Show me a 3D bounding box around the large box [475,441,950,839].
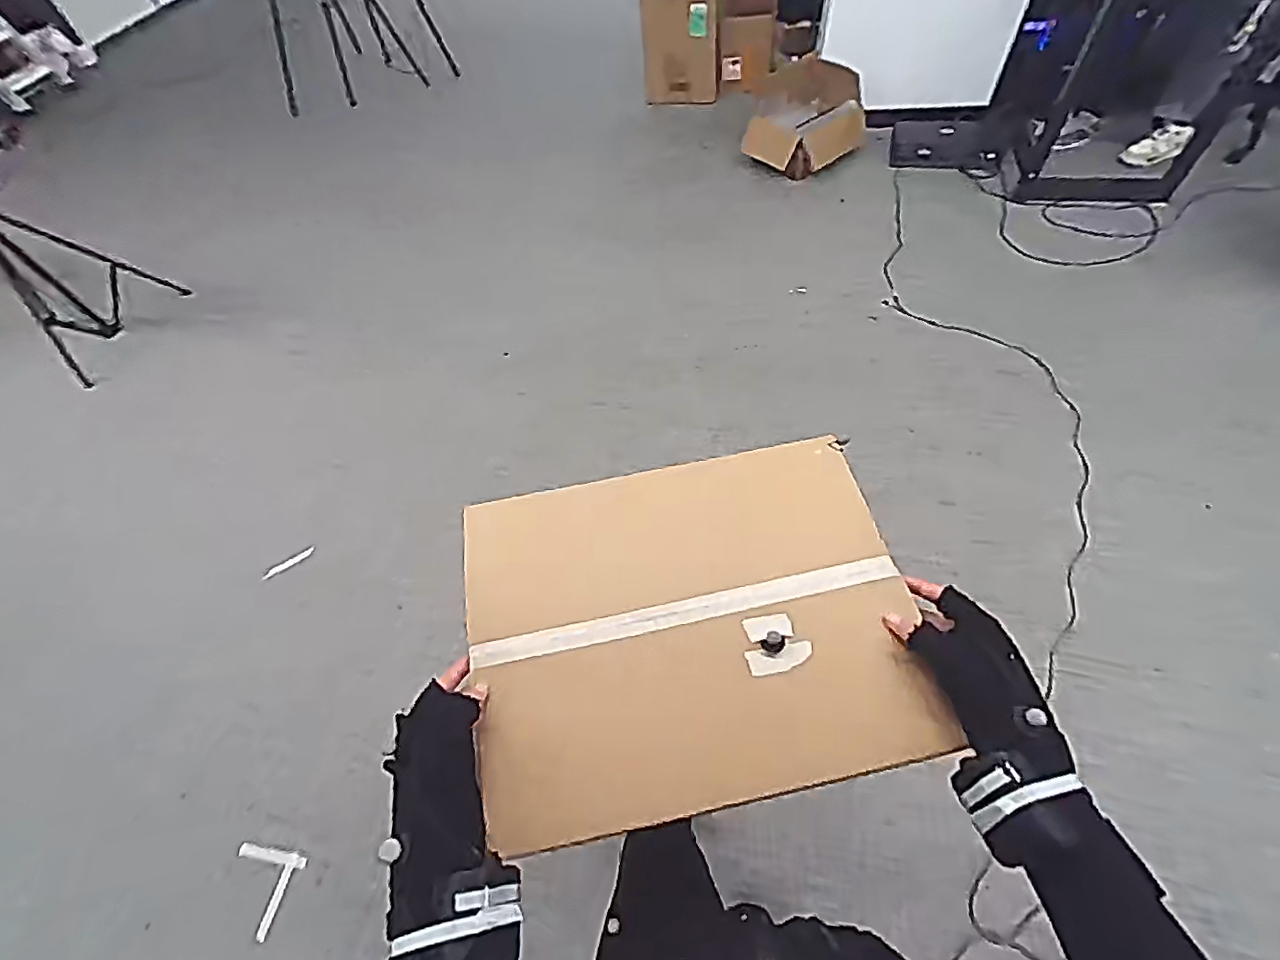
[{"bbox_3d":[0.050,0.198,0.650,0.408,0.320,0.320,-11,60,-3],"label":"large box"}]
